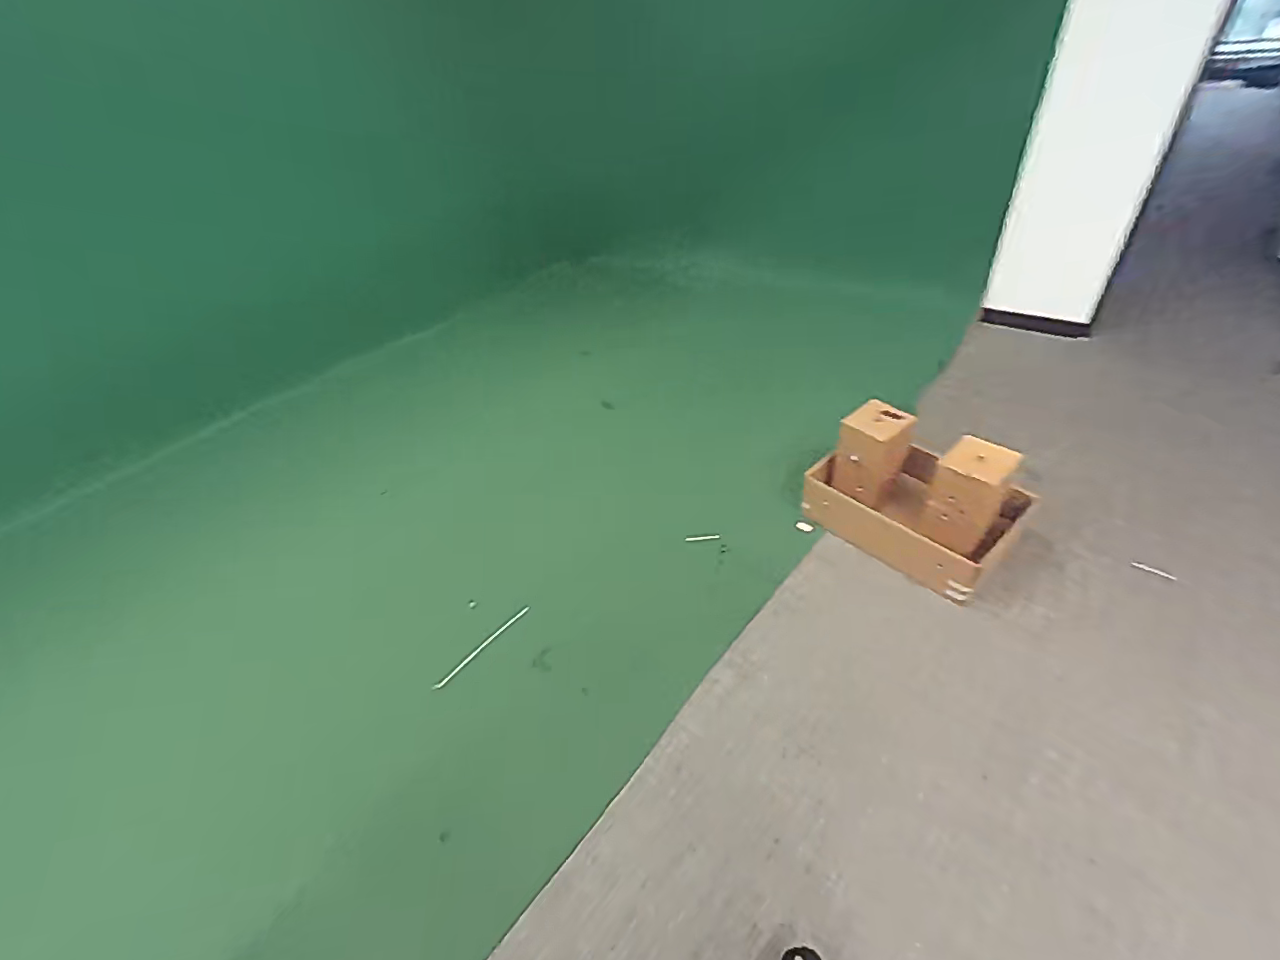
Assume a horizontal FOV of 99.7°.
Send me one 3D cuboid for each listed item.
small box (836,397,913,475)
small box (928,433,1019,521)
[{"bbox_3d":[0.795,-0.150,1.854,0.179,0.176,0.168,-33,47,-22],"label":"small box"},{"bbox_3d":[1.010,-0.009,1.653,0.179,0.176,0.168,-35,46,-25],"label":"small box"}]
